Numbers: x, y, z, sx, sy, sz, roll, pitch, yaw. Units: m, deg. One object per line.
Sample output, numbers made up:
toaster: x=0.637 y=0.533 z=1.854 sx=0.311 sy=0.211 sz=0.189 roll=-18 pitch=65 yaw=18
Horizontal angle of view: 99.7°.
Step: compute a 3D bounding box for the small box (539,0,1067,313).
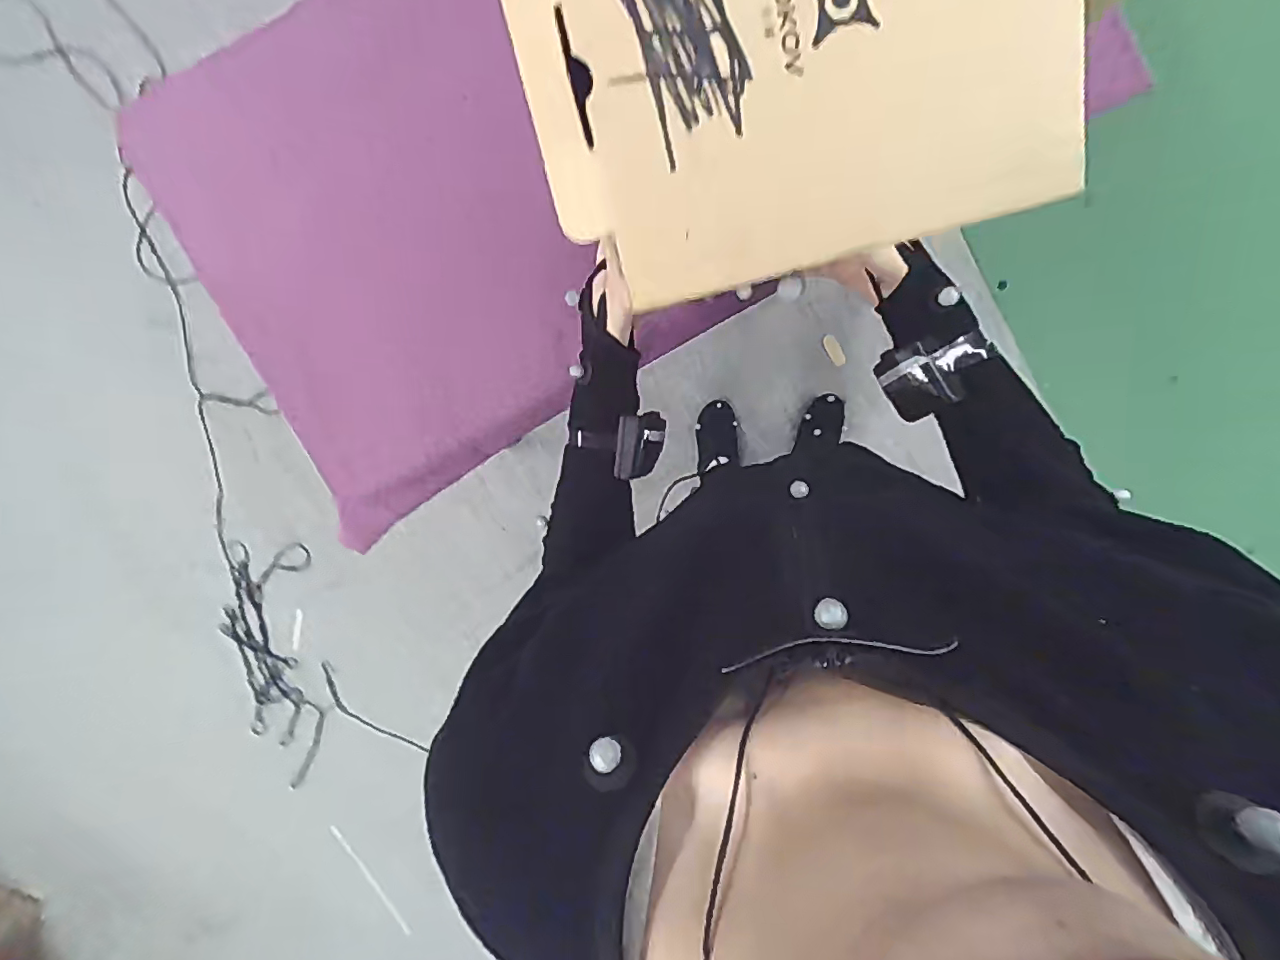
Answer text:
small box: x=0.061 y=-0.184 z=0.266 sx=0.179 sy=0.176 sz=0.168 roll=-13 pitch=108 yaw=6
